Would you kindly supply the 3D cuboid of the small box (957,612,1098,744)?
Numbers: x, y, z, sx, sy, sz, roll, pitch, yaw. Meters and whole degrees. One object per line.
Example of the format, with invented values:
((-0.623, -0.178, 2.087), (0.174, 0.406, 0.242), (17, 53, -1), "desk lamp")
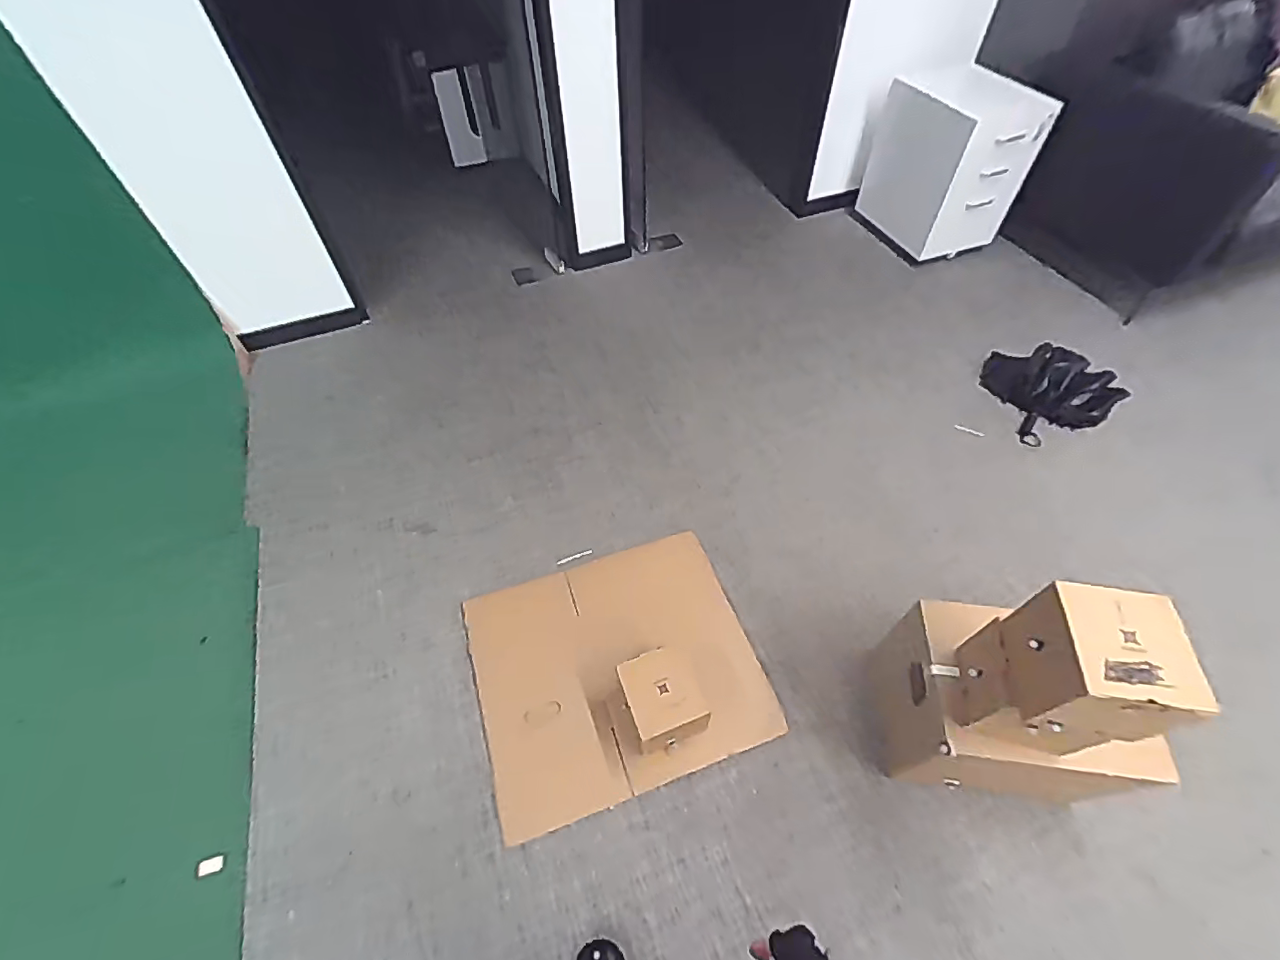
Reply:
((0.707, 0.366, 0.990), (0.179, 0.176, 0.168), (10, 53, 8), "small box")

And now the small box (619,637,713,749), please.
((0.058, 0.503, 1.270), (0.168, 0.176, 0.179), (-19, 55, -10), "small box")

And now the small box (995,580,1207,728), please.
((0.699, 0.277, 0.848), (0.168, 0.176, 0.179), (5, 55, 6), "small box")
